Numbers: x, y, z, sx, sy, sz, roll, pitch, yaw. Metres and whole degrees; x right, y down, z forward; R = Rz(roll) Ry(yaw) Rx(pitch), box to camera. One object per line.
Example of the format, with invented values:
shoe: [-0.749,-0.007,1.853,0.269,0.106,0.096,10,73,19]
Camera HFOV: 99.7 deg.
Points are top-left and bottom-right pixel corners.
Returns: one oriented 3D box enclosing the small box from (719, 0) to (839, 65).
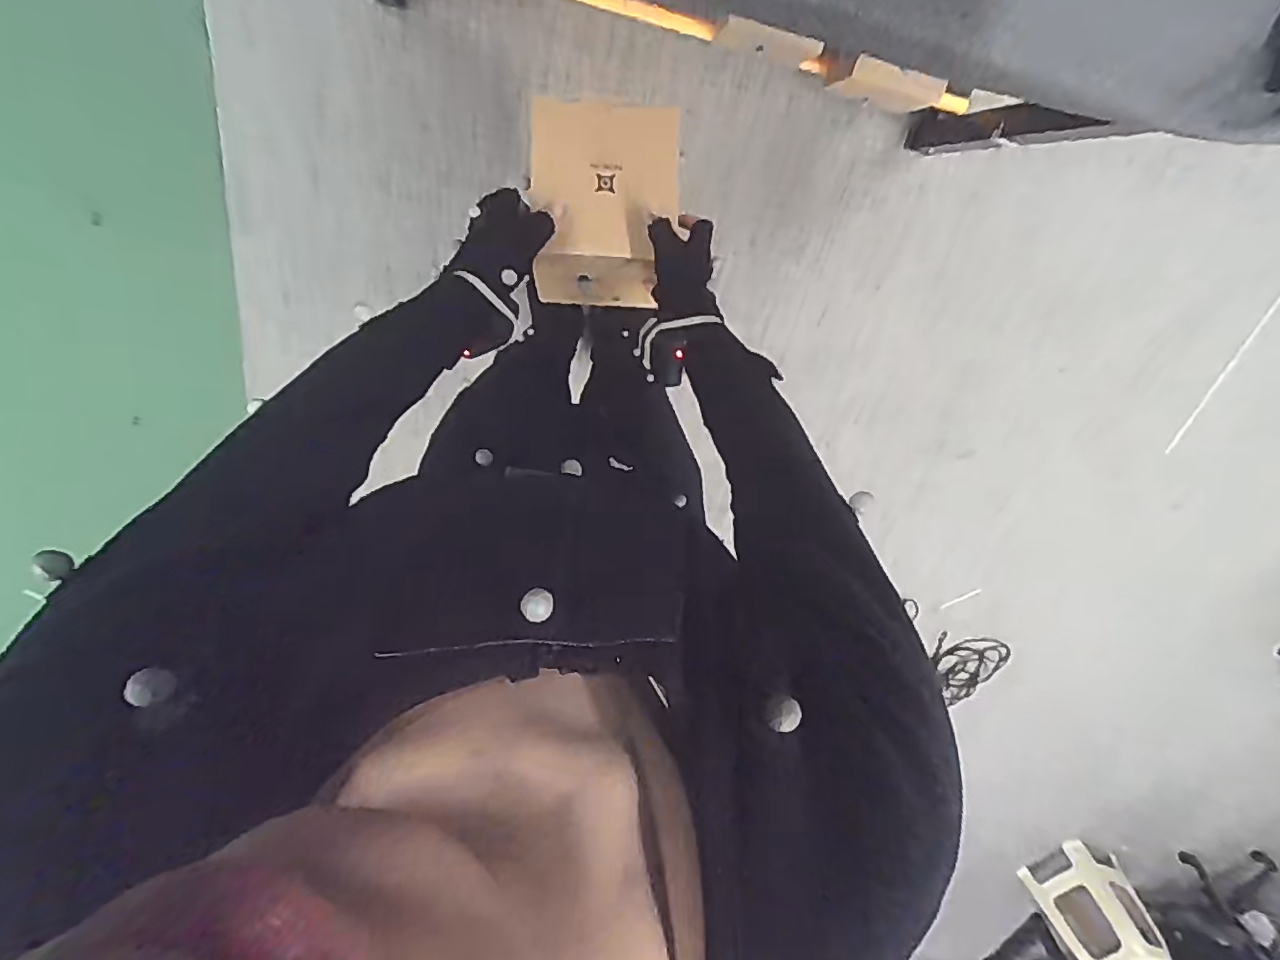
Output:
small box: [0.238,-0.826,0.901,0.168,0.176,0.179,10,118,-8]

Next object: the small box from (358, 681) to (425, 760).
small box: [-0.856,0.830,1.873,0.168,0.176,0.179,11,116,-7]
